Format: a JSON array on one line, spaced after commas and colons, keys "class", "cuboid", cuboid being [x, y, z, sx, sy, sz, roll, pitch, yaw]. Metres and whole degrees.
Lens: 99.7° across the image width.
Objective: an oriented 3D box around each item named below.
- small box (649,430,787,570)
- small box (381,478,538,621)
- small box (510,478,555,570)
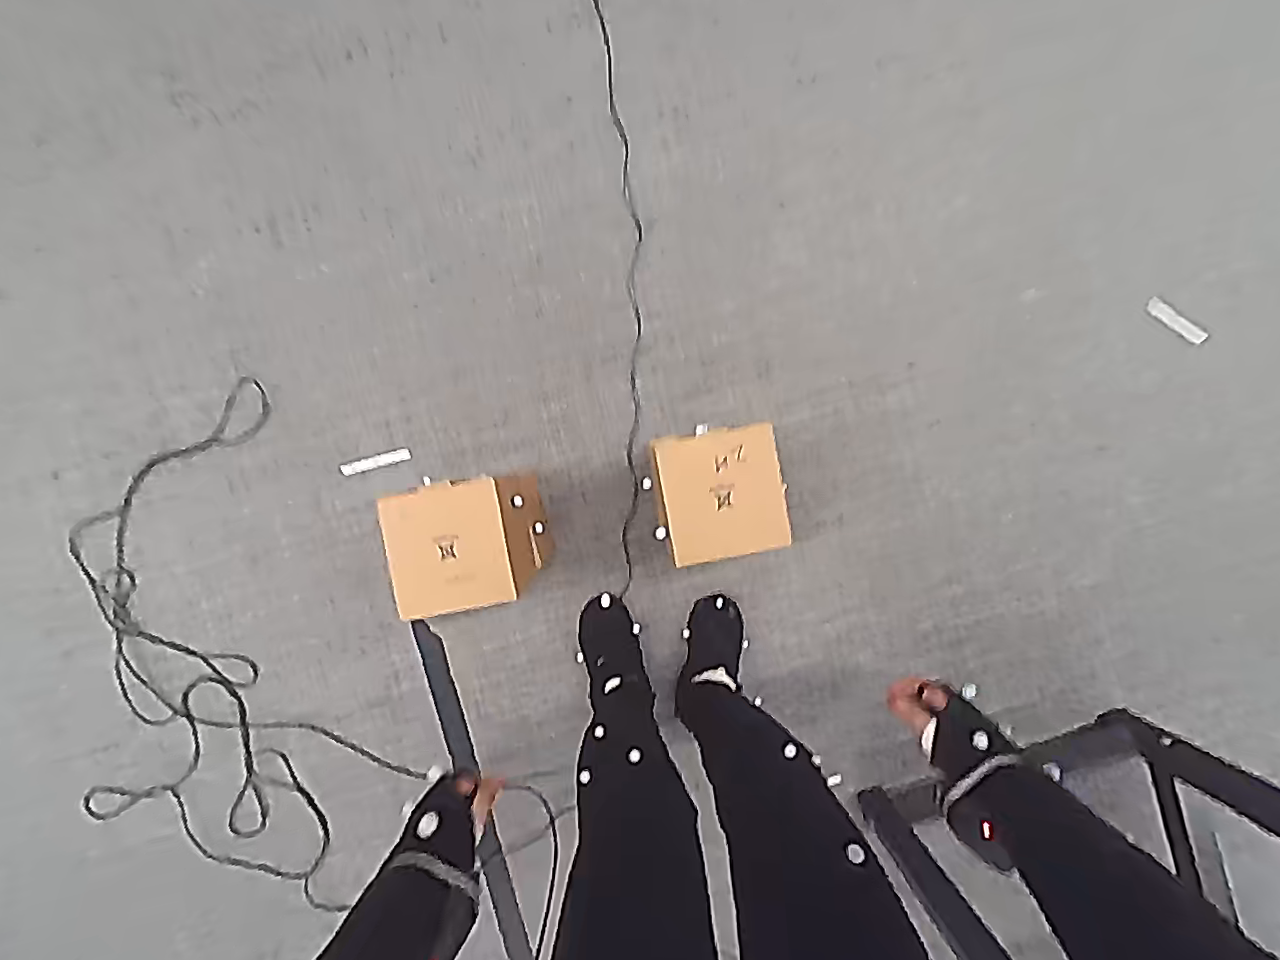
[{"class": "small box", "cuboid": [0.110, 0.025, 0.830, 0.168, 0.176, 0.179, -11, 91, -2]}, {"class": "small box", "cuboid": [-0.263, 0.095, 0.827, 0.168, 0.176, 0.179, -11, 93, 0]}, {"class": "small box", "cuboid": [-0.270, 0.095, 0.991, 0.179, 0.176, 0.168, -15, 92, 0]}]
